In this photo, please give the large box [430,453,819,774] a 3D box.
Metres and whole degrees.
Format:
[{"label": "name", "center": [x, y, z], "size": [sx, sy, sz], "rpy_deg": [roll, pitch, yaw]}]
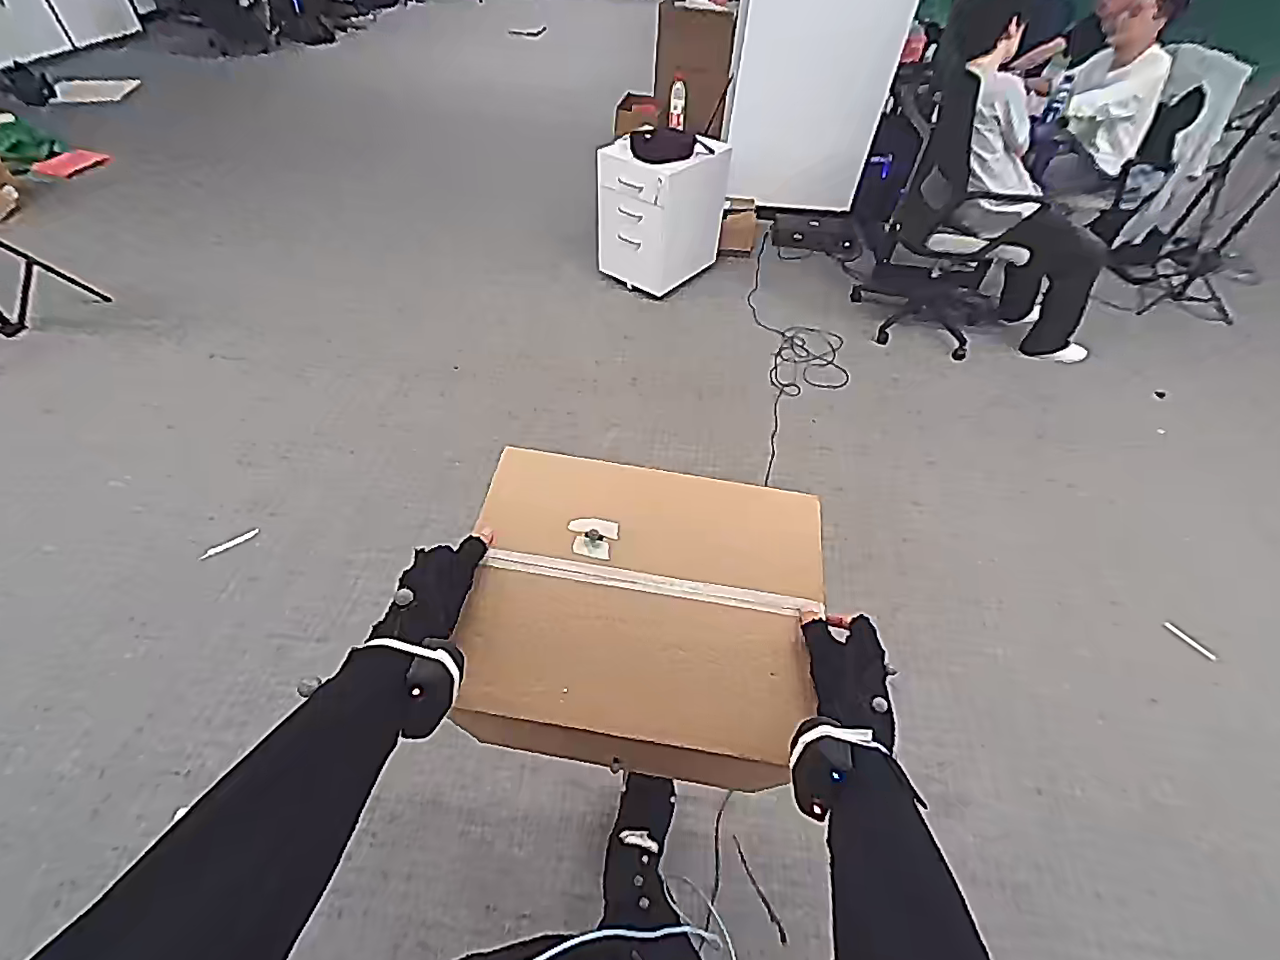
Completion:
[{"label": "large box", "center": [-0.003, 0.197, 0.745], "size": [0.408, 0.320, 0.320], "rpy_deg": [9, 56, 2]}]
